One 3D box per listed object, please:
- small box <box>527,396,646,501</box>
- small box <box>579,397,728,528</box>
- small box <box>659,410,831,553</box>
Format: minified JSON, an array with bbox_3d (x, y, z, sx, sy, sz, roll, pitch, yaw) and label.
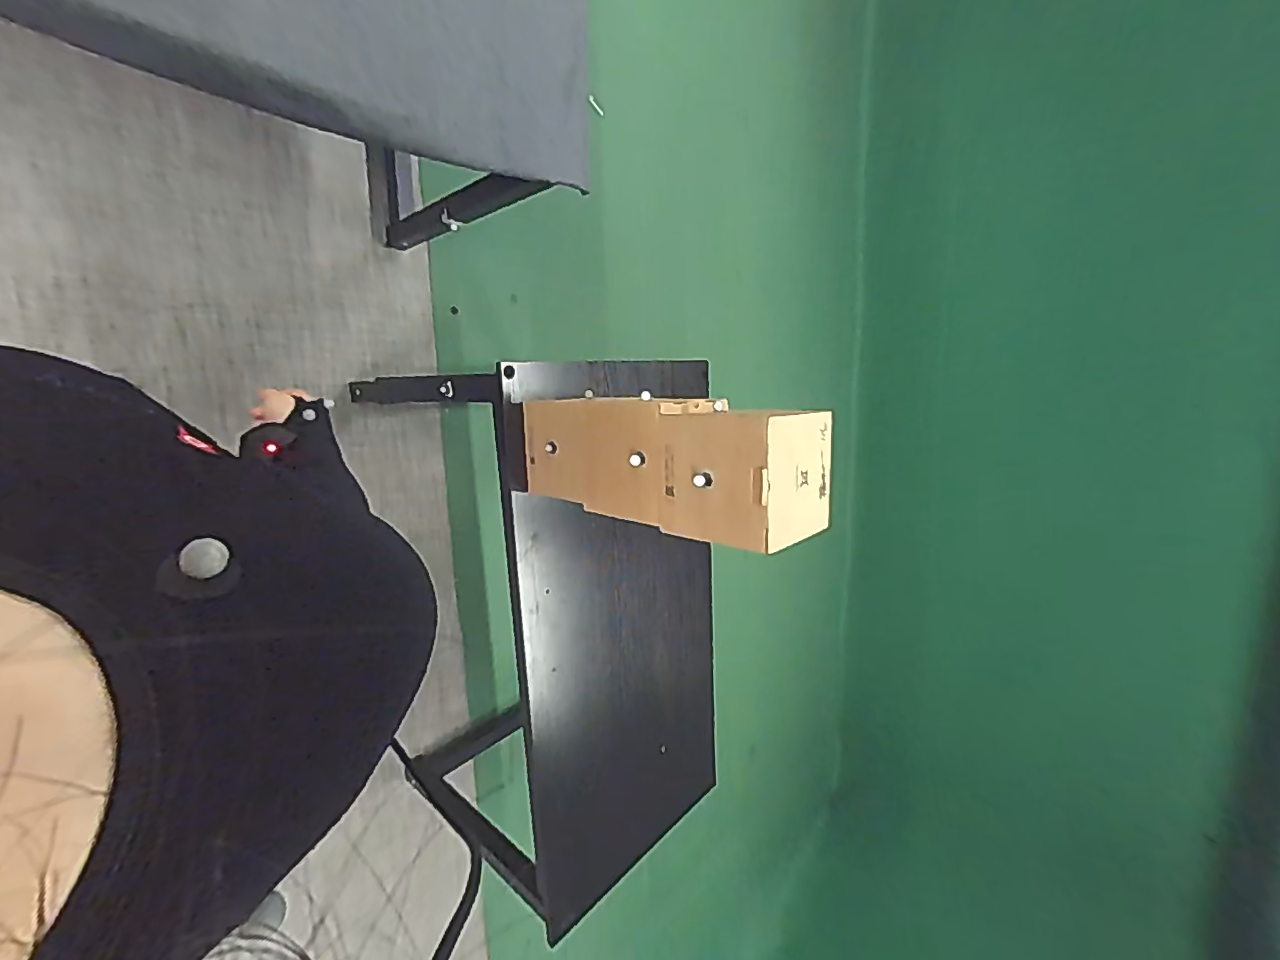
[{"bbox_3d":[-0.089,-0.064,0.963,0.179,0.176,0.168,-12,106,-46],"label":"small box"},{"bbox_3d":[0.020,-0.037,0.844,0.168,0.176,0.179,-12,105,-46],"label":"small box"},{"bbox_3d":[0.139,-0.009,0.735,0.179,0.176,0.168,-10,103,-45],"label":"small box"}]
